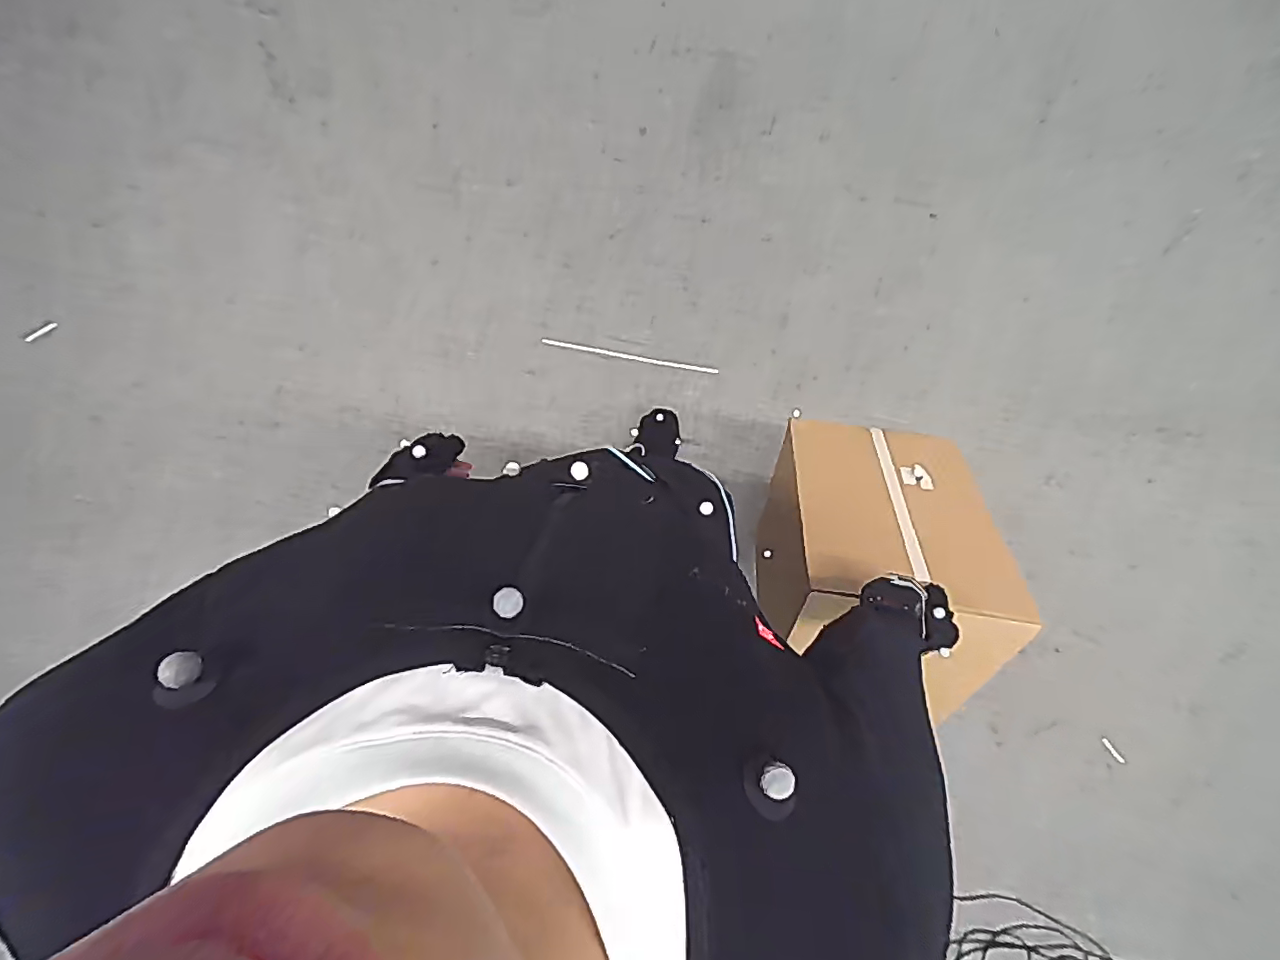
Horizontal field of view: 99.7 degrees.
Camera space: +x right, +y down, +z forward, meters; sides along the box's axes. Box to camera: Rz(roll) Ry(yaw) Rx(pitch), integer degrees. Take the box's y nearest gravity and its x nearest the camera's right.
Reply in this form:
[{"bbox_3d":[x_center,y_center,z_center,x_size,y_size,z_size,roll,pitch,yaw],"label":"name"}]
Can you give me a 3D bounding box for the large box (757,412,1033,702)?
[{"bbox_3d":[0.401,0.132,0.984,0.320,0.408,0.320,9,133,2],"label":"large box"}]
